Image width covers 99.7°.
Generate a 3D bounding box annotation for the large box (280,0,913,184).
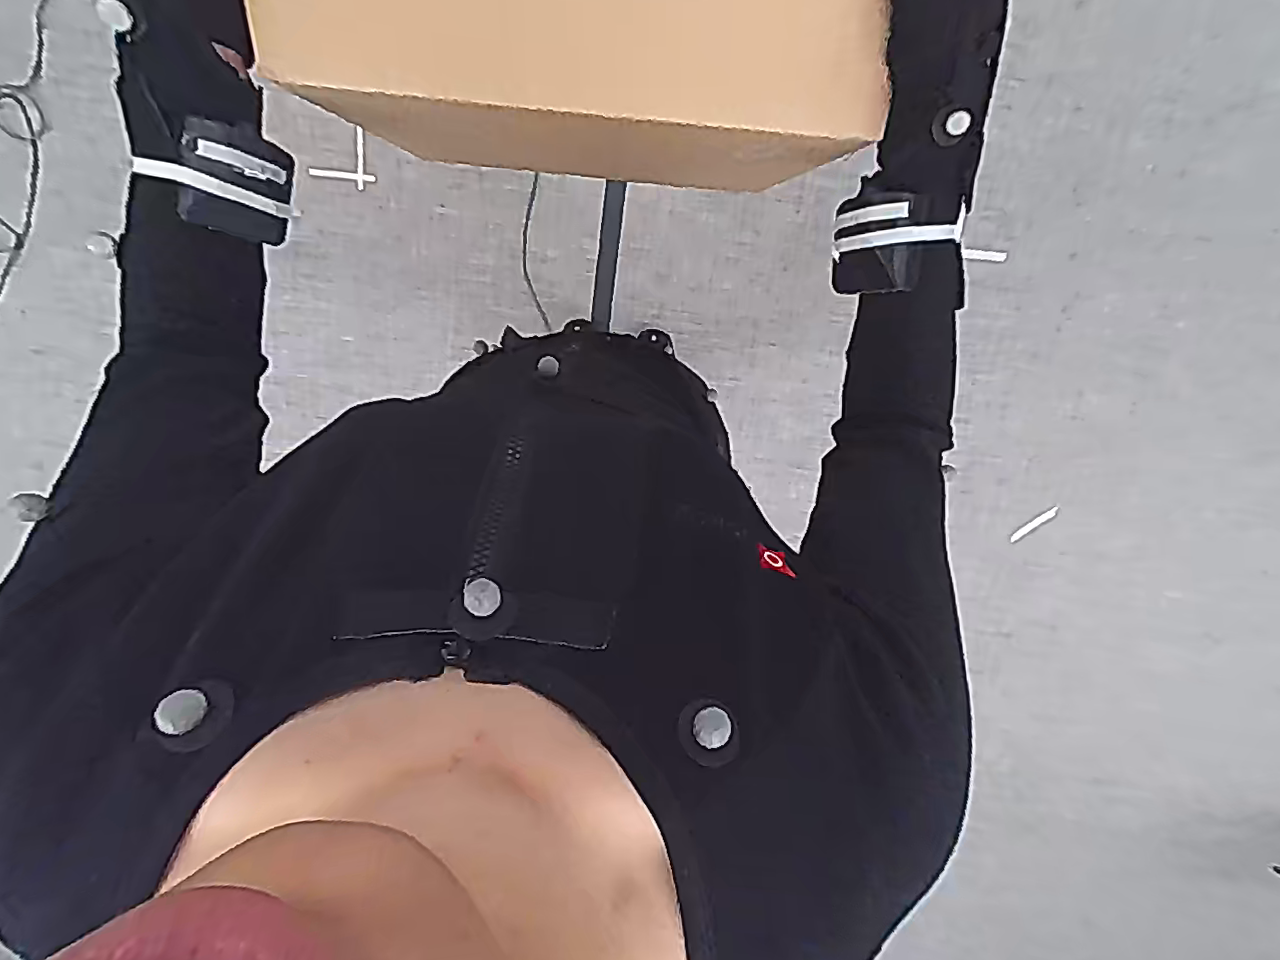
[{"bbox_3d":[-0.027,-0.444,0.440,0.408,0.320,0.320,2,113,-5],"label":"large box"}]
